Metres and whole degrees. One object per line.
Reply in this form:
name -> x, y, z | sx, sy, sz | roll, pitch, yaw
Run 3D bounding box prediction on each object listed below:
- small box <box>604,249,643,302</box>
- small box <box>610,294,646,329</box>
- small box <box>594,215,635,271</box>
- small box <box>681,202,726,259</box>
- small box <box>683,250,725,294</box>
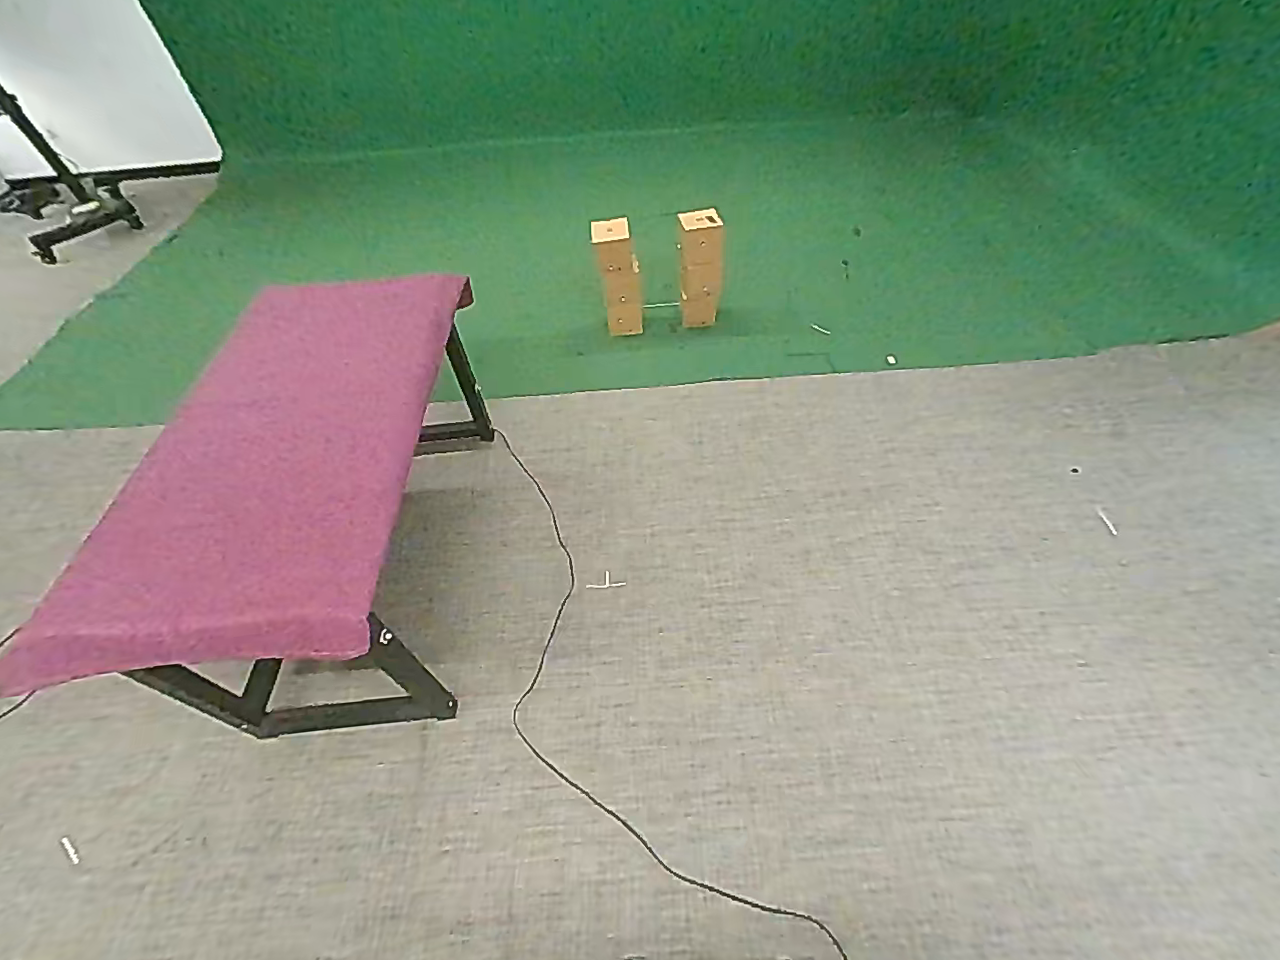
small box -> -0.079, -0.973, 2.579 | 0.179, 0.176, 0.168 | -8, 50, -1
small box -> -0.063, -0.869, 2.704 | 0.168, 0.176, 0.179 | -6, 50, 1
small box -> -0.115, -1.075, 2.454 | 0.168, 0.176, 0.179 | -8, 51, 2
small box -> 0.284, -1.134, 2.462 | 0.179, 0.176, 0.168 | -10, 51, -2
small box -> 0.300, -1.017, 2.579 | 0.168, 0.176, 0.179 | -12, 51, -4
